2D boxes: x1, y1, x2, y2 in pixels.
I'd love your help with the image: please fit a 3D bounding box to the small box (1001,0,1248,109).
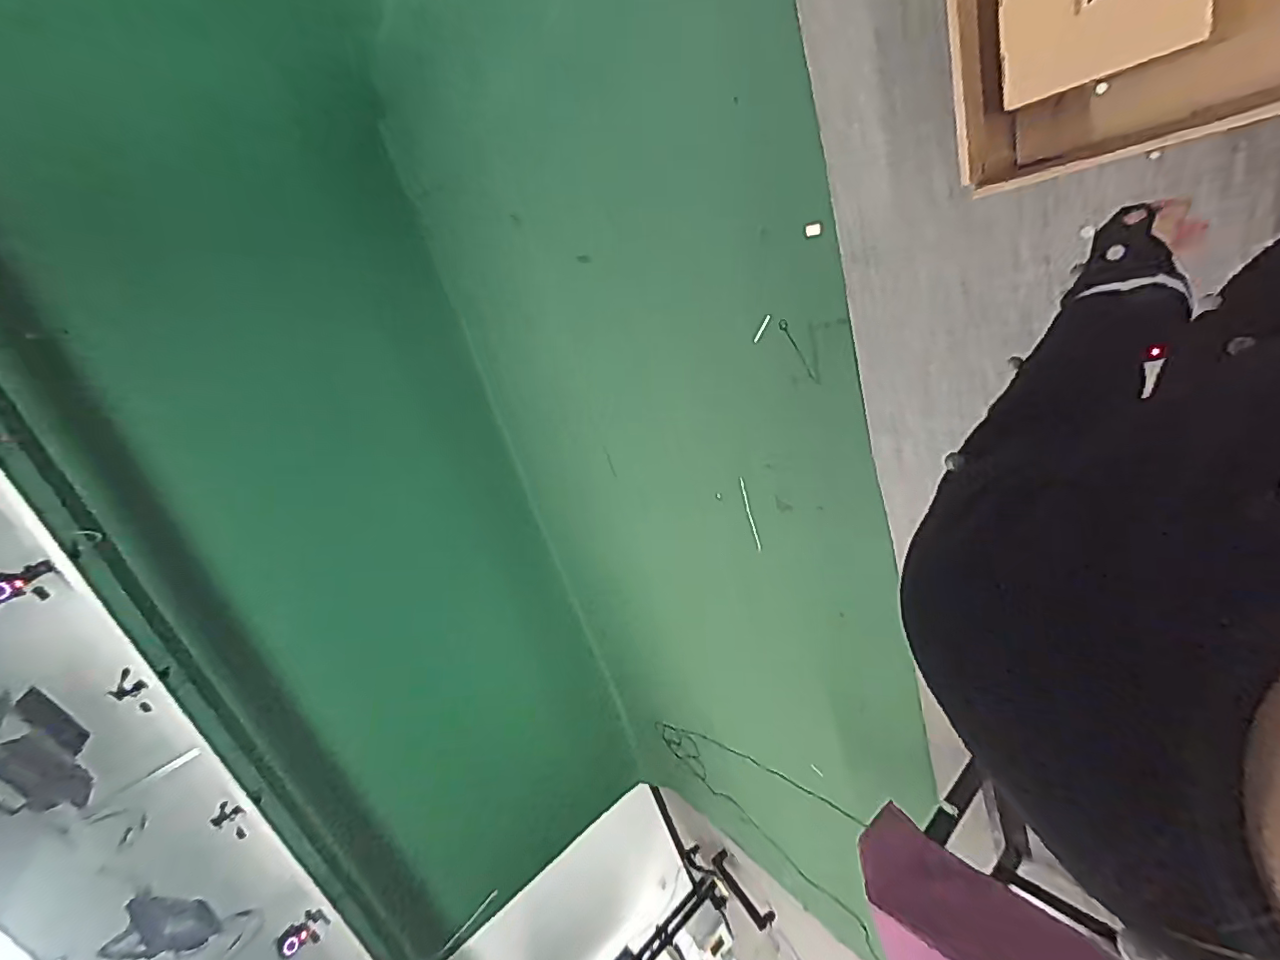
[{"bbox_3d":[0.529,-0.537,0.592,0.179,0.176,0.168,13,127,52],"label":"small box"}]
